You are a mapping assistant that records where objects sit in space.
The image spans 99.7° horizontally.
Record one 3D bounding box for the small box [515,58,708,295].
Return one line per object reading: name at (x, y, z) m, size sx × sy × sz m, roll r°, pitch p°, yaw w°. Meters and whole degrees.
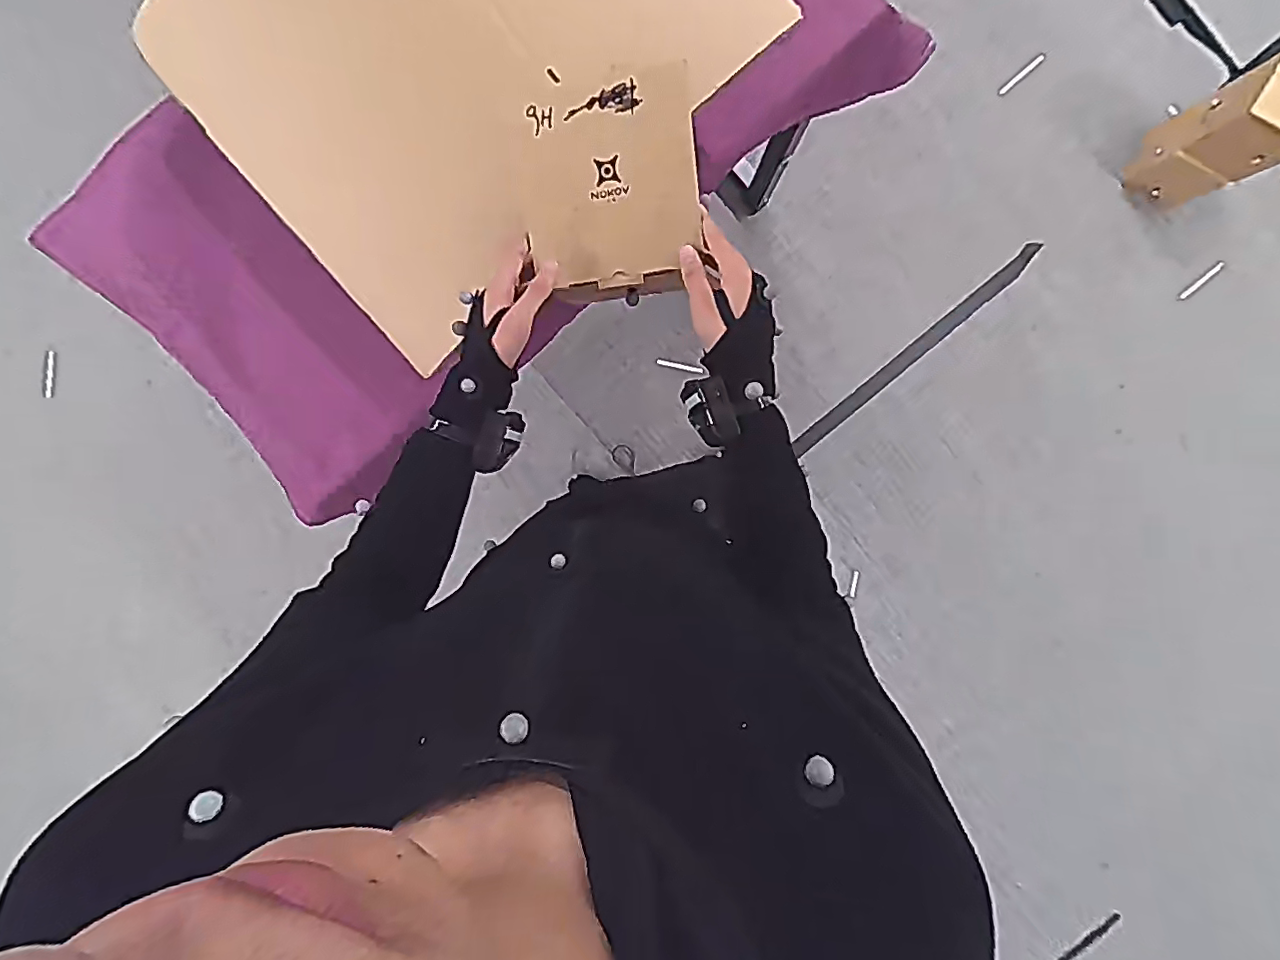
small box at (-0.015, -0.299, 0.578) m, size 0.168 × 0.176 × 0.179 m, roll -5°, pitch 104°, yaw 8°
